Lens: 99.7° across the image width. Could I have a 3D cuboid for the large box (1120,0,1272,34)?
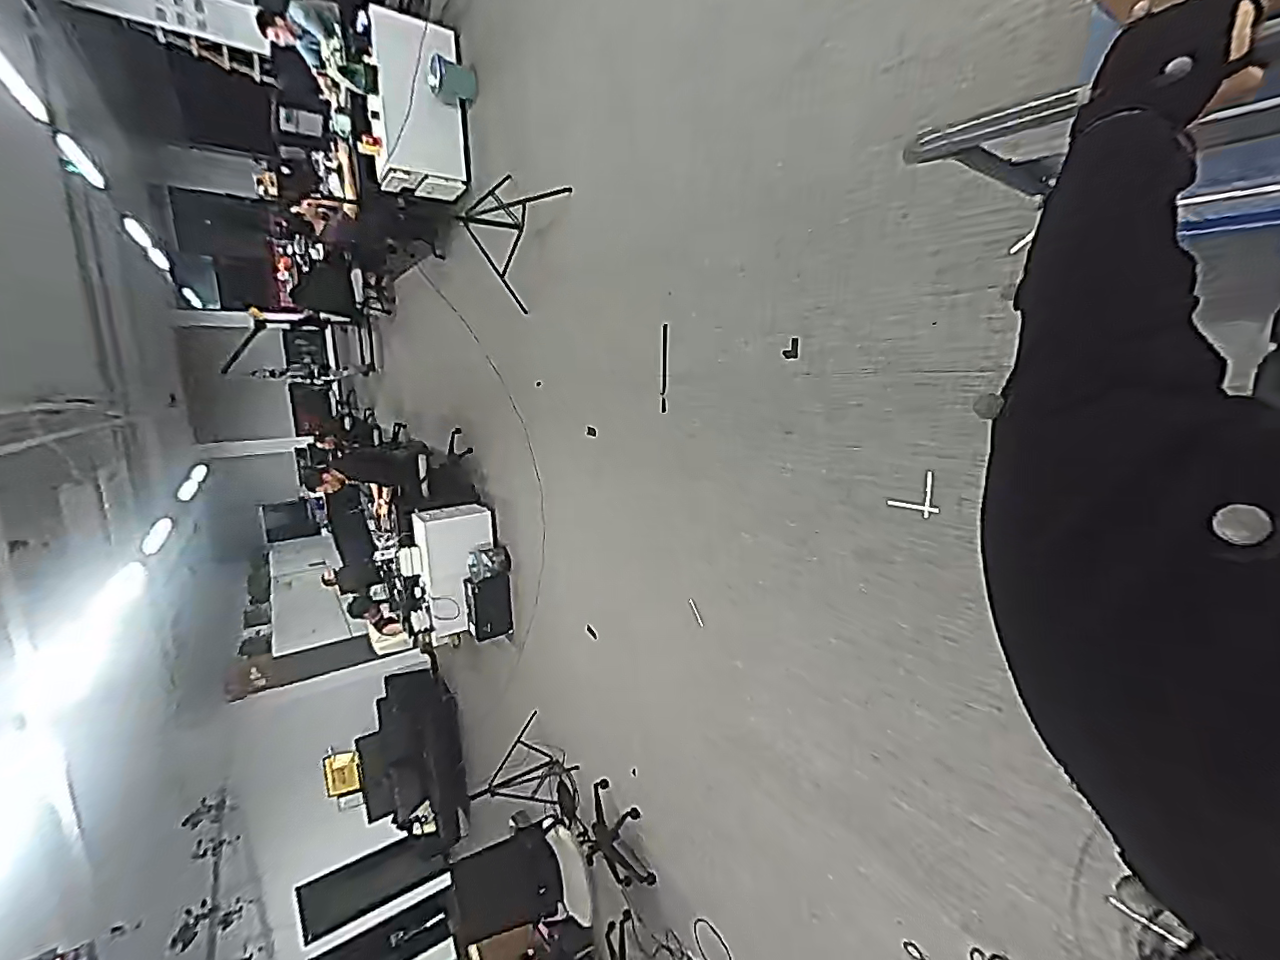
[{"bbox_3d":[0.892,-0.852,0.664,0.408,0.320,0.320,23,115,54],"label":"large box"}]
